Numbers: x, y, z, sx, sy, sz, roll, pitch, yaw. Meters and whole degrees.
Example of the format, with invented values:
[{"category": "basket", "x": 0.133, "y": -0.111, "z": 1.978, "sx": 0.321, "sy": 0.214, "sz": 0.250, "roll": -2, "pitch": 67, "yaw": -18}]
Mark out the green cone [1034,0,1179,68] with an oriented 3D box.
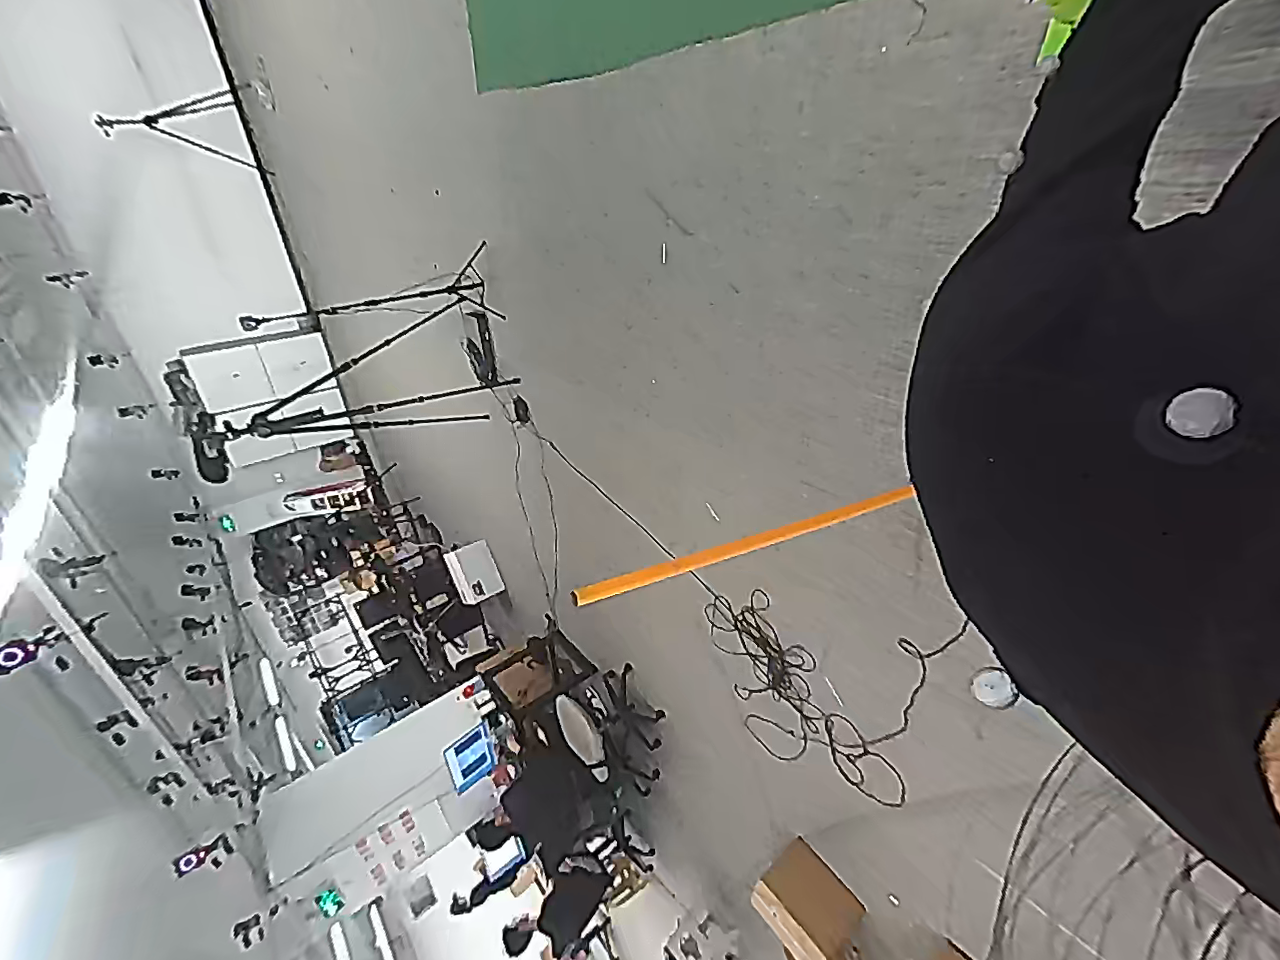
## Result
[{"category": "green cone", "x": 0.728, "y": -0.820, "z": 0.891, "sx": 0.202, "sy": 0.368, "sz": 0.200, "roll": 35, "pitch": 136, "yaw": 40}]
